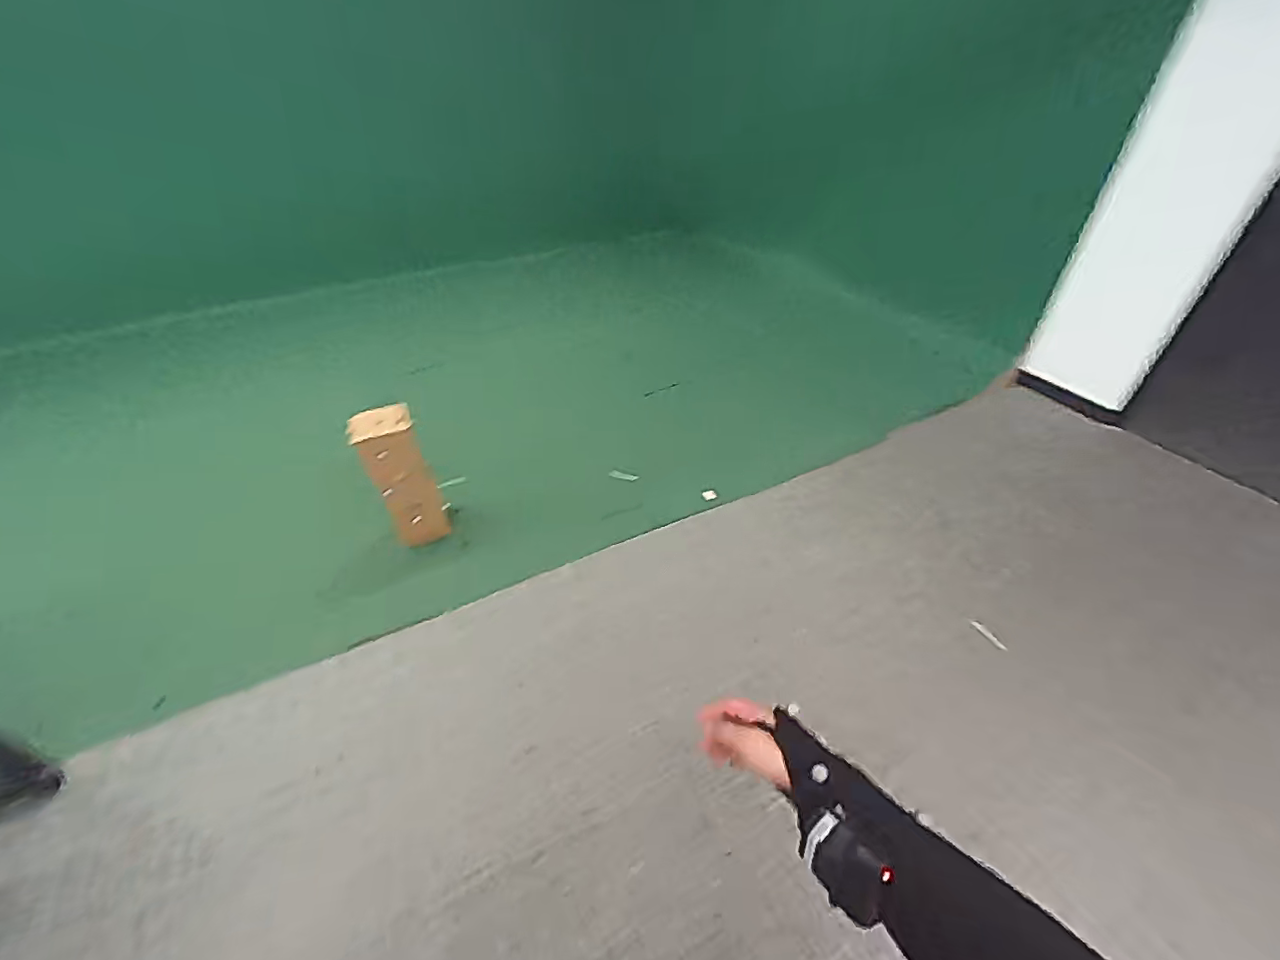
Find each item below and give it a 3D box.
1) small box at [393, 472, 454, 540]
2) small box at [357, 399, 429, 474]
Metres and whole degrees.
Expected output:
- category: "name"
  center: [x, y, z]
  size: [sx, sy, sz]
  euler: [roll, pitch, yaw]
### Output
- category: "small box"
  center: [-0.813, 0.099, 2.043]
  size: [0.179, 0.176, 0.168]
  euler: [-16, 44, -15]
- category: "small box"
  center: [-0.832, -0.144, 1.823]
  size: [0.179, 0.176, 0.168]
  euler: [-17, 44, -16]
